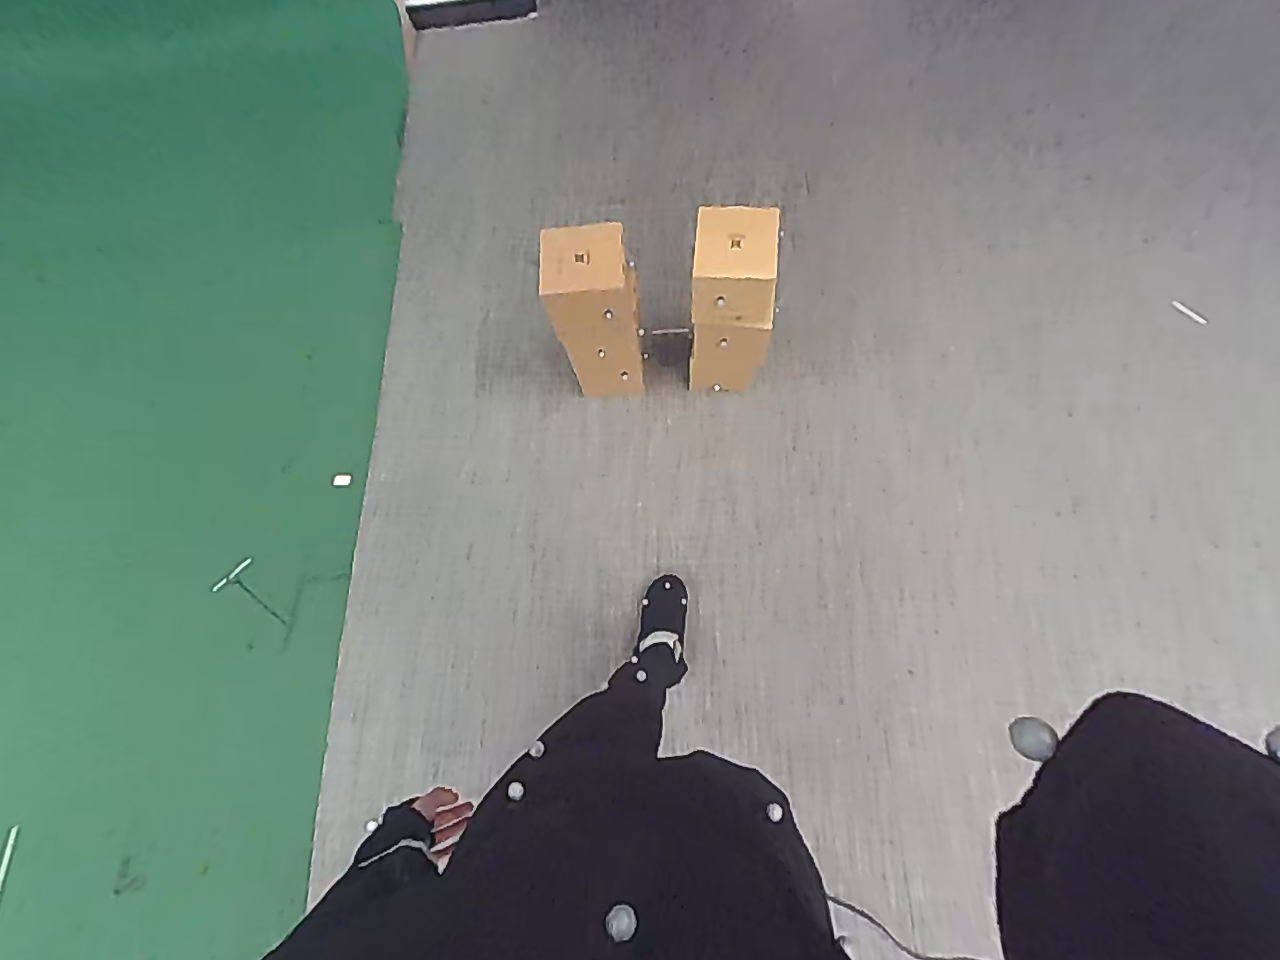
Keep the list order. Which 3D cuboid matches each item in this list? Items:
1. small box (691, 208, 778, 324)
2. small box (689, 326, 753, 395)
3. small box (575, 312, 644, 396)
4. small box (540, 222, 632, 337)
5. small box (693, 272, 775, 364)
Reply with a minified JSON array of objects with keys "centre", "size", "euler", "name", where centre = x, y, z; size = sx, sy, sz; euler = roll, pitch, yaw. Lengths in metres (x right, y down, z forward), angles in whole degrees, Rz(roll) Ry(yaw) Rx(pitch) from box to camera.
[{"centre":[0.201,-0.454,1.164],"size":[0.168,0.176,0.179],"euler":[4,73,7],"name":"small box"},{"centre":[0.225,-0.354,1.474],"size":[0.168,0.176,0.179],"euler":[6,74,8],"name":"small box"},{"centre":[-0.079,-0.345,1.499],"size":[0.179,0.176,0.168],"euler":[-3,72,5],"name":"small box"},{"centre":[-0.110,-0.431,1.183],"size":[0.179,0.176,0.168],"euler":[-4,72,5],"name":"small box"},{"centre":[0.226,-0.398,1.315],"size":[0.179,0.176,0.168],"euler":[6,74,8],"name":"small box"}]
